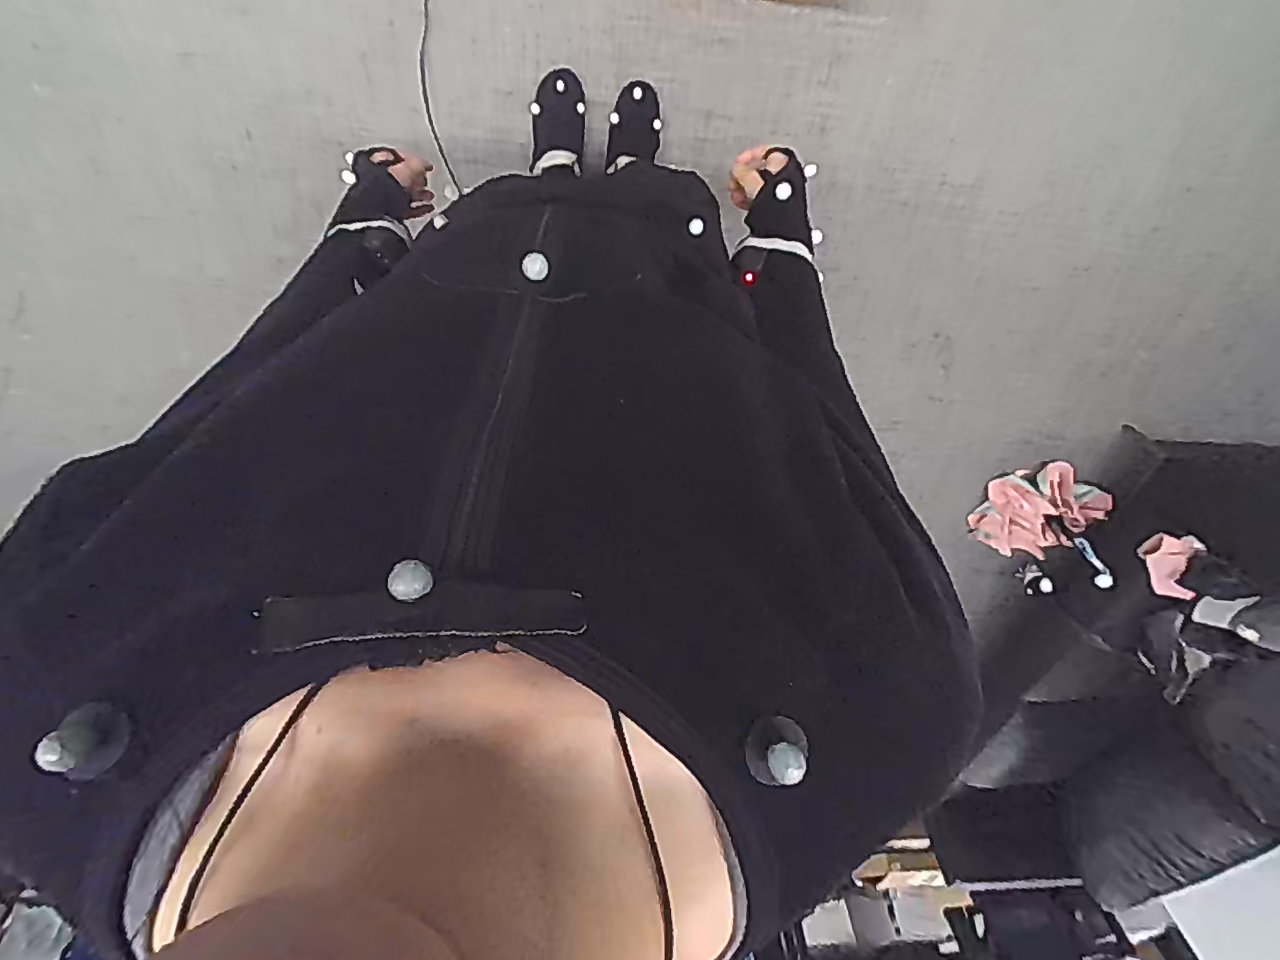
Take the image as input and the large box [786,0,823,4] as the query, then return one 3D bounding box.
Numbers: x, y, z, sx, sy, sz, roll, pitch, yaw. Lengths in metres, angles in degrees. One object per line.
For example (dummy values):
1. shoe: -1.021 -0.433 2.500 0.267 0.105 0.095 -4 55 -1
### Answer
1. large box: 0.174 -0.981 0.847 0.408 0.320 0.320 5 128 -6
